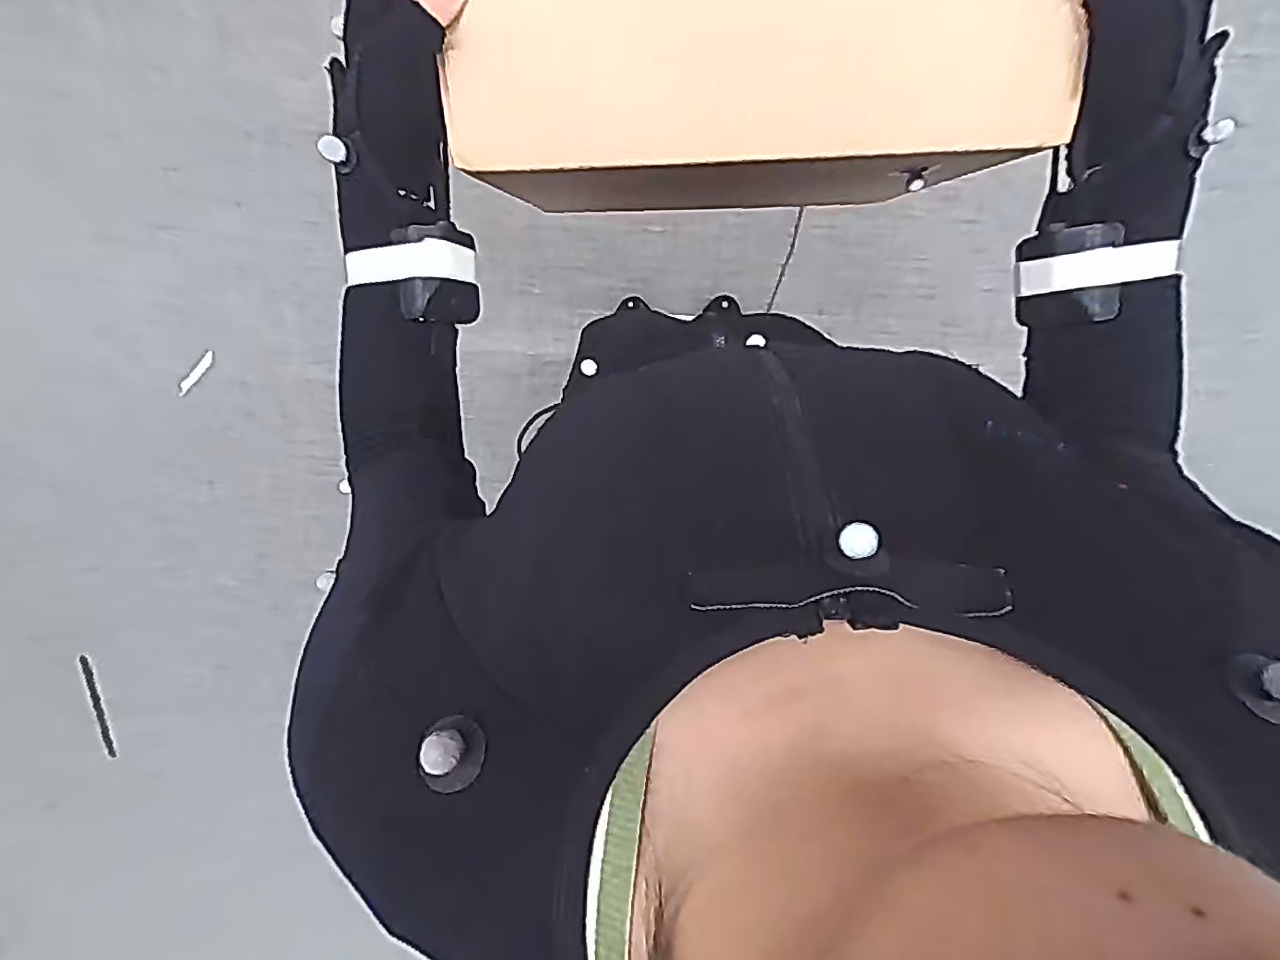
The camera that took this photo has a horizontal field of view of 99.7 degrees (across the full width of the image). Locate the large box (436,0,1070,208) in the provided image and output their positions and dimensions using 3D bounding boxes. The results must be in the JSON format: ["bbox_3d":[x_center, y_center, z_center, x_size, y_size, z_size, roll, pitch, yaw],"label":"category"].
[{"bbox_3d":[0.071,-0.416,0.451,0.408,0.320,0.320,-1,111,2],"label":"large box"}]
